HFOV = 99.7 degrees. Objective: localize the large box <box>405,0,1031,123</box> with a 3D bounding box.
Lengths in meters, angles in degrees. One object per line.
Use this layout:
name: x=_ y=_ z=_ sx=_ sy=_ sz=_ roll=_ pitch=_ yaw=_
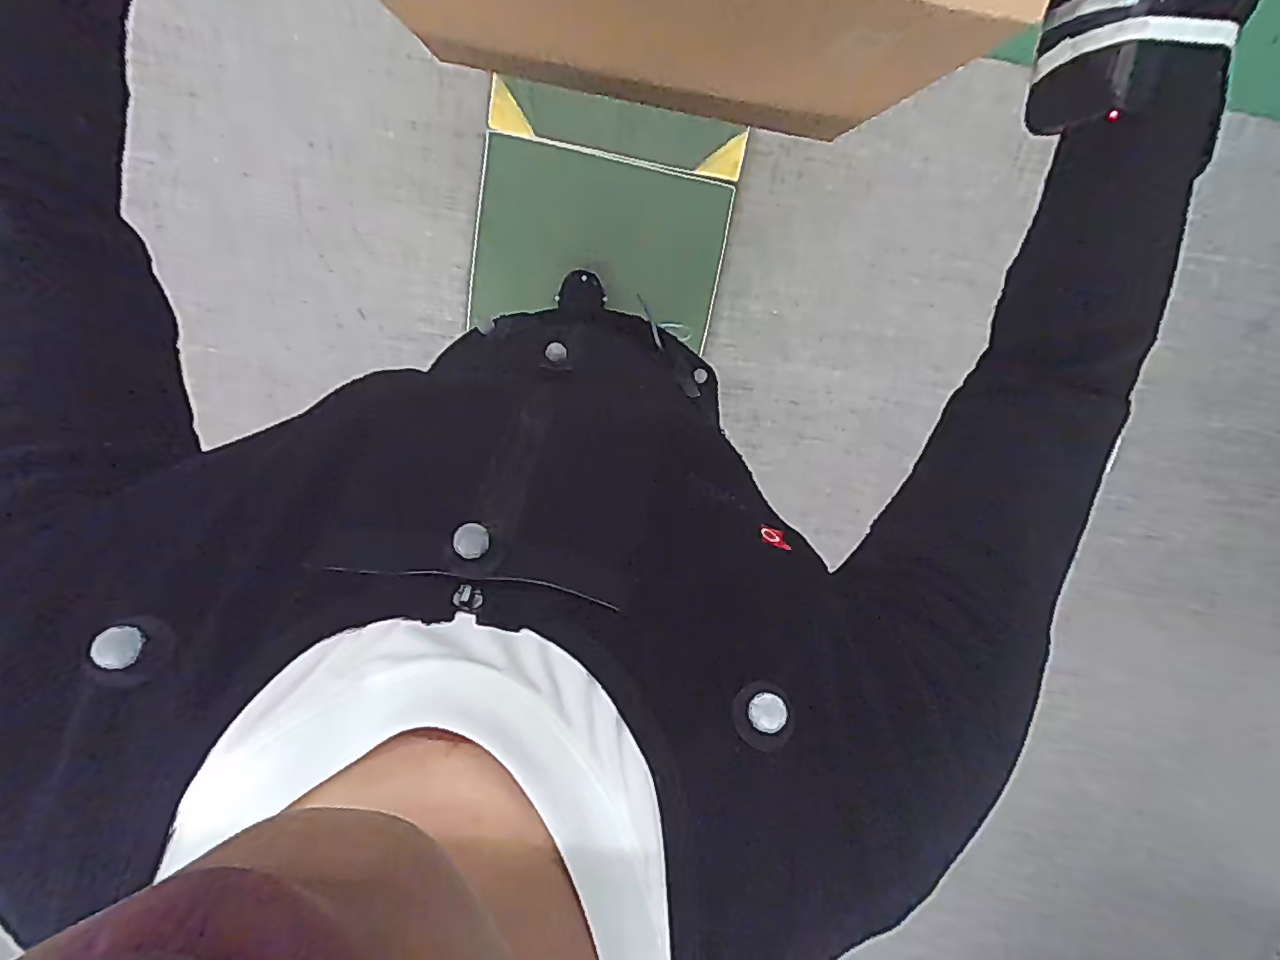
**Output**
large box: x=0.033 y=-0.471 z=0.347 sx=0.408 sy=0.320 sz=0.320 roll=8 pitch=113 yaw=-5
